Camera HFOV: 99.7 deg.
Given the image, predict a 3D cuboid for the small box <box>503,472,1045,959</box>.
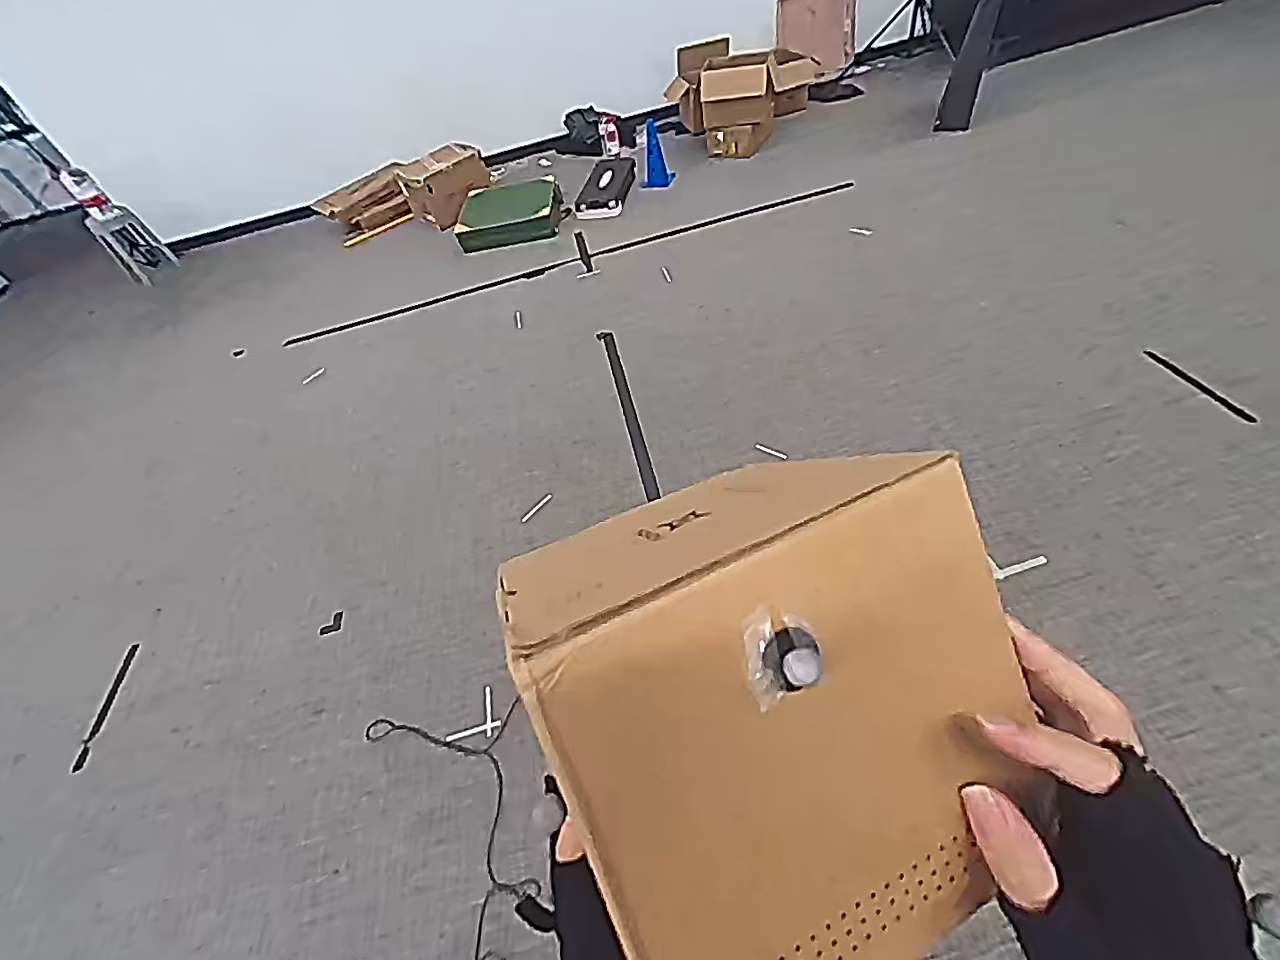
[{"bbox_3d":[0.047,0.106,0.263,0.179,0.176,0.168,-21,6,-15],"label":"small box"}]
